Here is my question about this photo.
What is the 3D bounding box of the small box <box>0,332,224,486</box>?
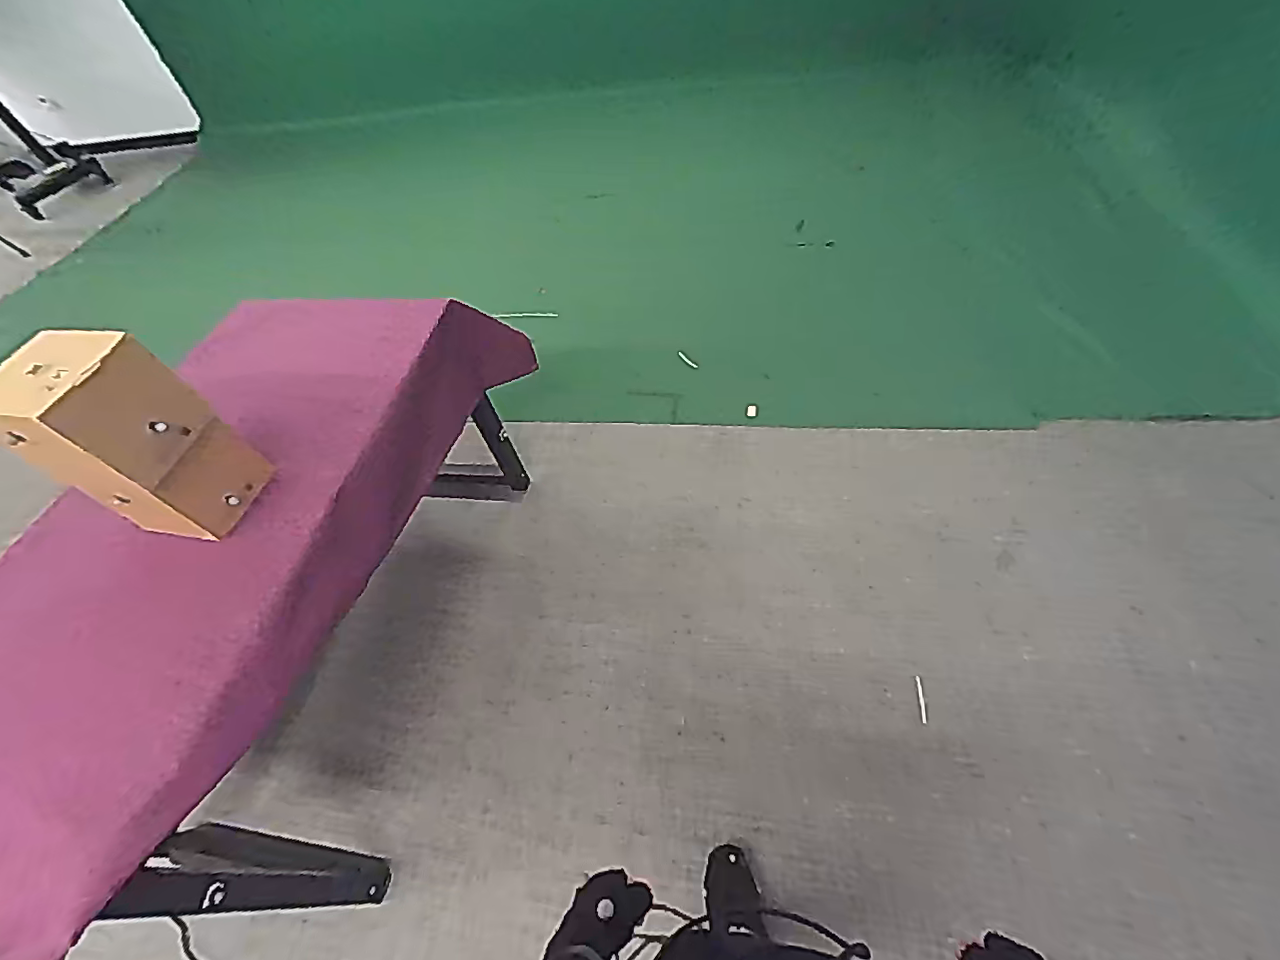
[{"bbox_3d":[-0.805,-0.105,0.822,0.179,0.176,0.168,5,56,13],"label":"small box"}]

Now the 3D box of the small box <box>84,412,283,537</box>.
[{"bbox_3d":[-0.797,-0.014,0.959,0.179,0.176,0.168,7,56,14],"label":"small box"}]
